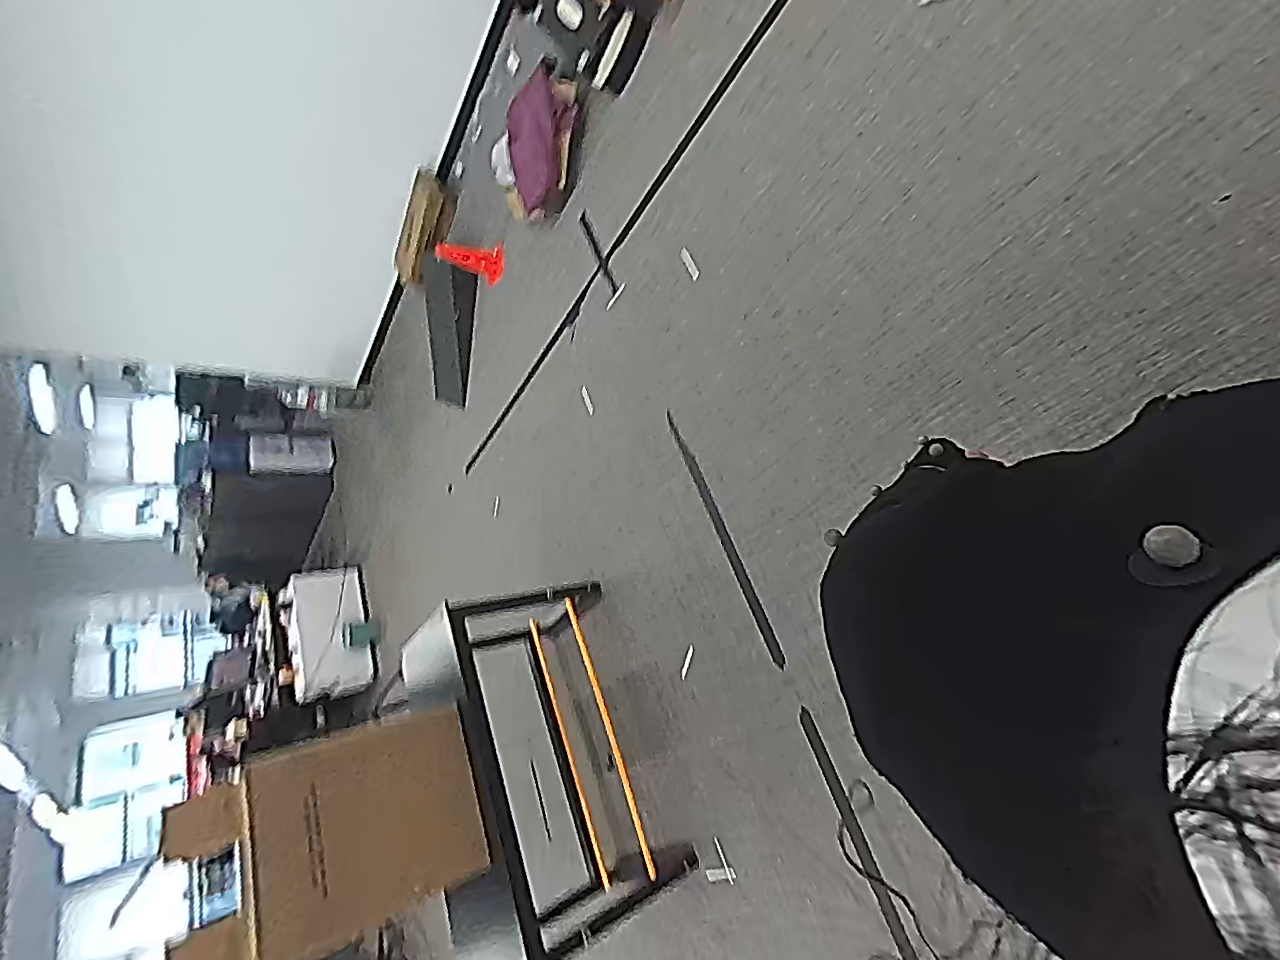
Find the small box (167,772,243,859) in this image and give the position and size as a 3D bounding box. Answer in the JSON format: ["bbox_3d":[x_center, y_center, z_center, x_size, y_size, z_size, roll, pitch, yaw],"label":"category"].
[{"bbox_3d":[-1.308,1.008,1.627,0.179,0.176,0.168,-44,61,41],"label":"small box"}]

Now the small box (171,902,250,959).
[{"bbox_3d":[-1.197,1.317,1.507,0.179,0.176,0.168,-49,55,37],"label":"small box"}]
